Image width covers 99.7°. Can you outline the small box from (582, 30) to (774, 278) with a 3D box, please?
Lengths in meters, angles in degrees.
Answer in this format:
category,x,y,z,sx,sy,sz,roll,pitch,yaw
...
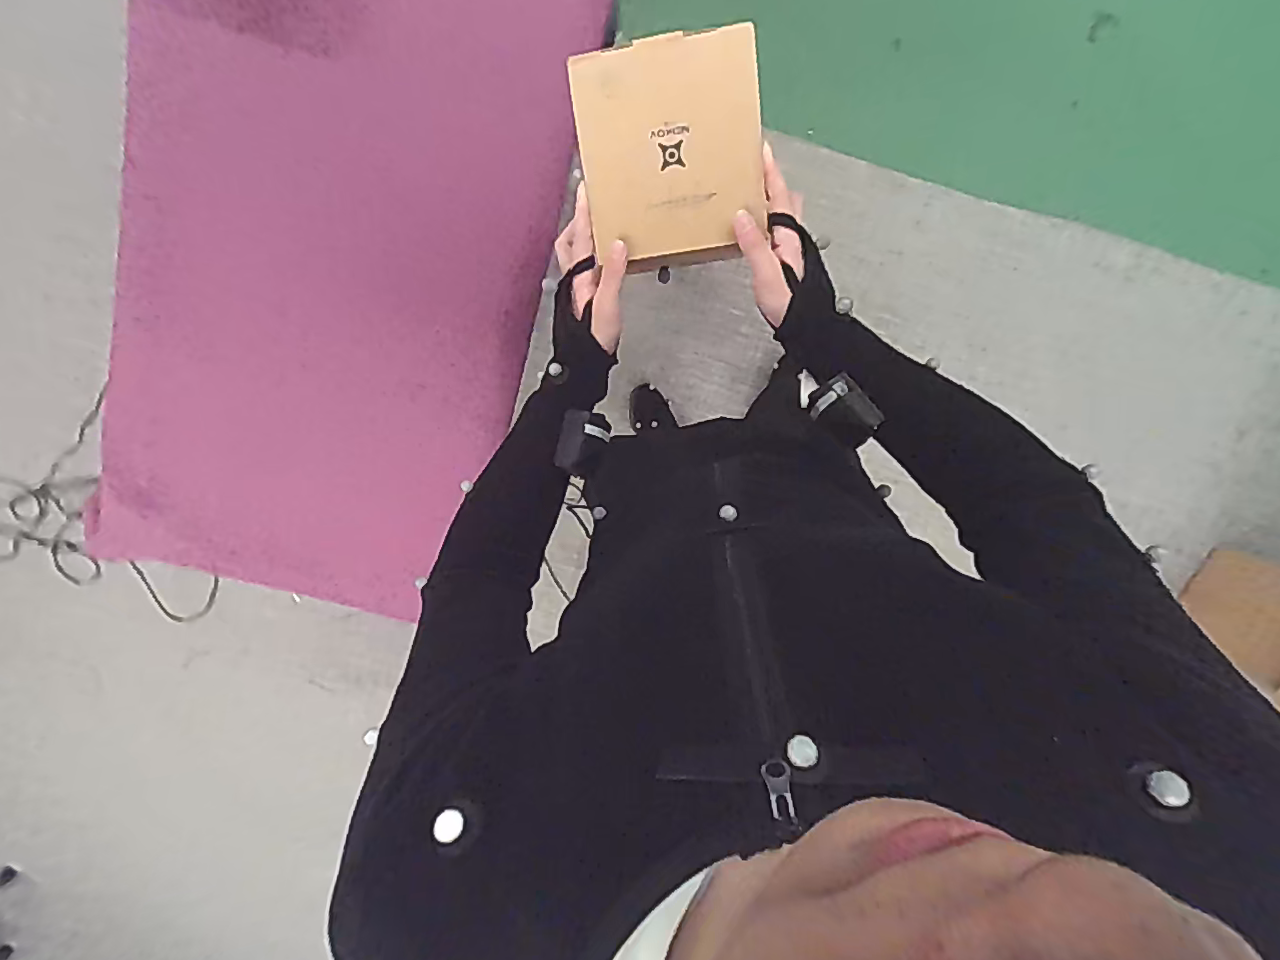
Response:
category,x,y,z,sx,sy,sz,roll,pitch,yaw
small box,0.040,-0.318,0.566,0.168,0.176,0.179,-6,107,4
